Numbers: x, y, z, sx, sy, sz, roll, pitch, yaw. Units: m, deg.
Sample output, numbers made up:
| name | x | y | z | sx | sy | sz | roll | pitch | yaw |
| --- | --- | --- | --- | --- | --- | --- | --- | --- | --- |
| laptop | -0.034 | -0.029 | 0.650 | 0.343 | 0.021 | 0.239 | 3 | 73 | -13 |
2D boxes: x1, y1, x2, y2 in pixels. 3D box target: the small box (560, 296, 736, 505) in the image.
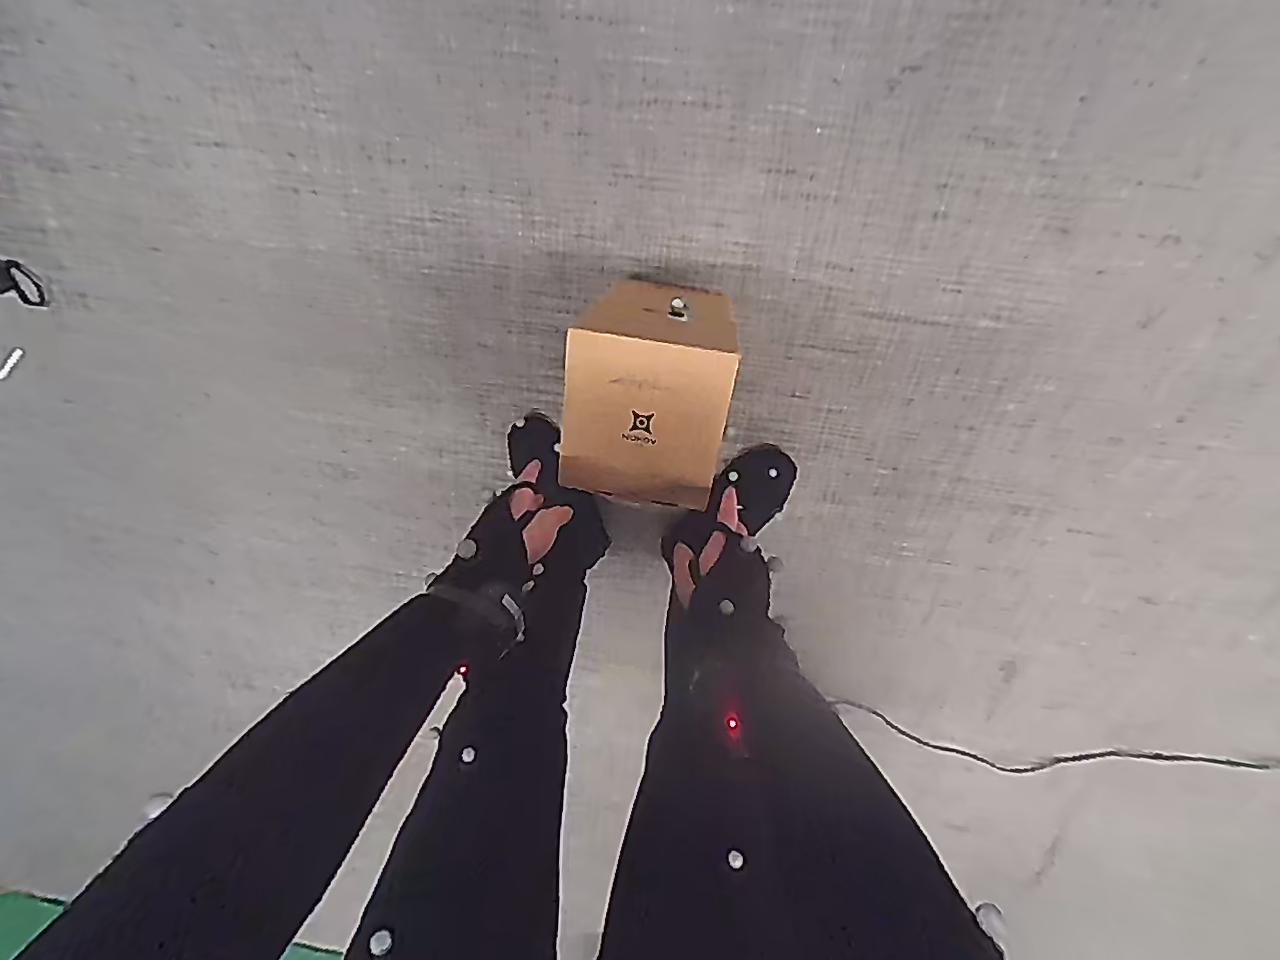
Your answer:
| name | x | y | z | sx | sy | sz | roll | pitch | yaw |
| --- | --- | --- | --- | --- | --- | --- | --- | --- | --- |
| small box | 0.011 | -0.098 | 0.620 | 0.168 | 0.176 | 0.179 | 9 | 119 | 2 |

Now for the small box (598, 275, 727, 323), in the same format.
| name | x | y | z | sx | sy | sz | roll | pitch | yaw |
| --- | --- | --- | --- | --- | --- | --- | --- | --- | --- |
| small box | 0.027 | -0.174 | 0.763 | 0.168 | 0.176 | 0.179 | 12 | 120 | 2 |
